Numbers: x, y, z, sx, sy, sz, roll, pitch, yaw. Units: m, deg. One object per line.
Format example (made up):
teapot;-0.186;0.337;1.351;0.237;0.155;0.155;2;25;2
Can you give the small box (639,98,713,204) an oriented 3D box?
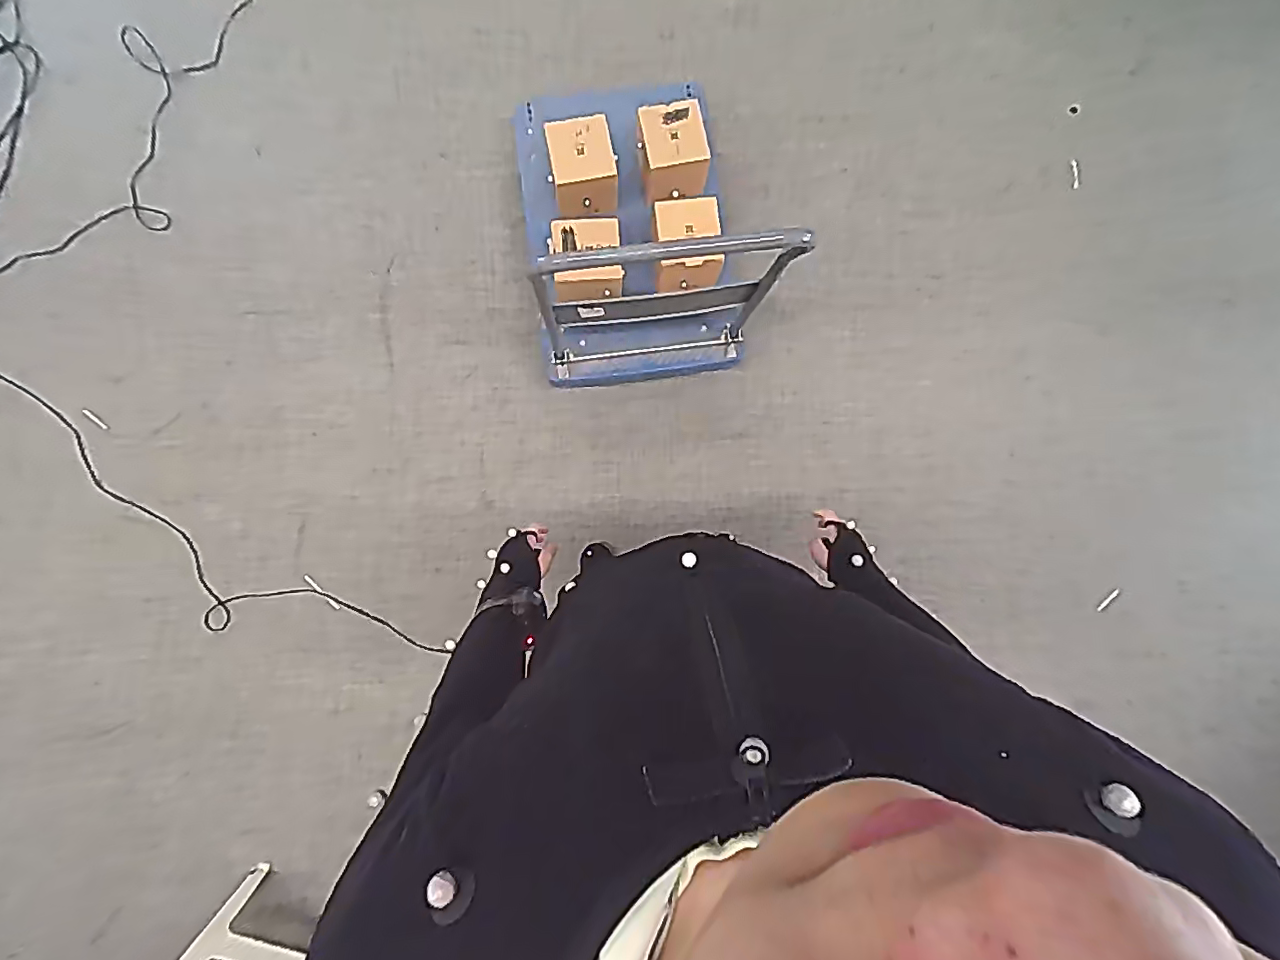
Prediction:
small box;0.093;-0.904;1.497;0.168;0.176;0.179;-11;86;-2

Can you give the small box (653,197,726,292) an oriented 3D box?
small box;0.130;-0.637;1.476;0.168;0.176;0.179;-7;85;-3

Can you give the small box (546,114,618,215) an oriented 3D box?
small box;-0.153;-0.854;1.485;0.168;0.176;0.179;-11;85;-4
